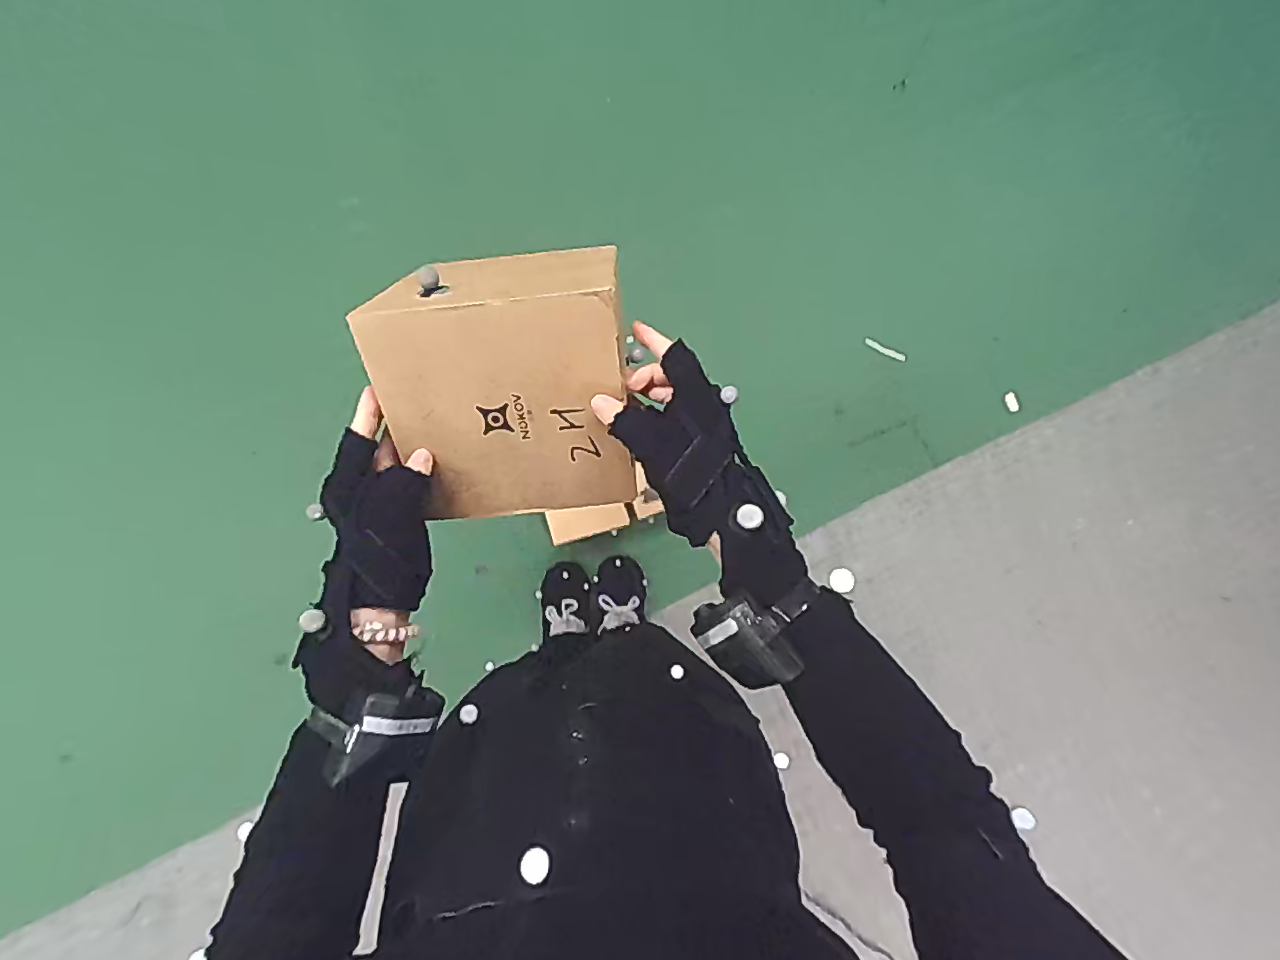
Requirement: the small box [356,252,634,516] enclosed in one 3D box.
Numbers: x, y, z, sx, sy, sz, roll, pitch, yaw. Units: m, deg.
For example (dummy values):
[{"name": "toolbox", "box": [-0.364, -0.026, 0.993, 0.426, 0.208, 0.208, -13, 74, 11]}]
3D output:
[{"name": "small box", "box": [-0.098, -0.089, 0.463, 0.179, 0.176, 0.168, -5, 123, 1]}]
